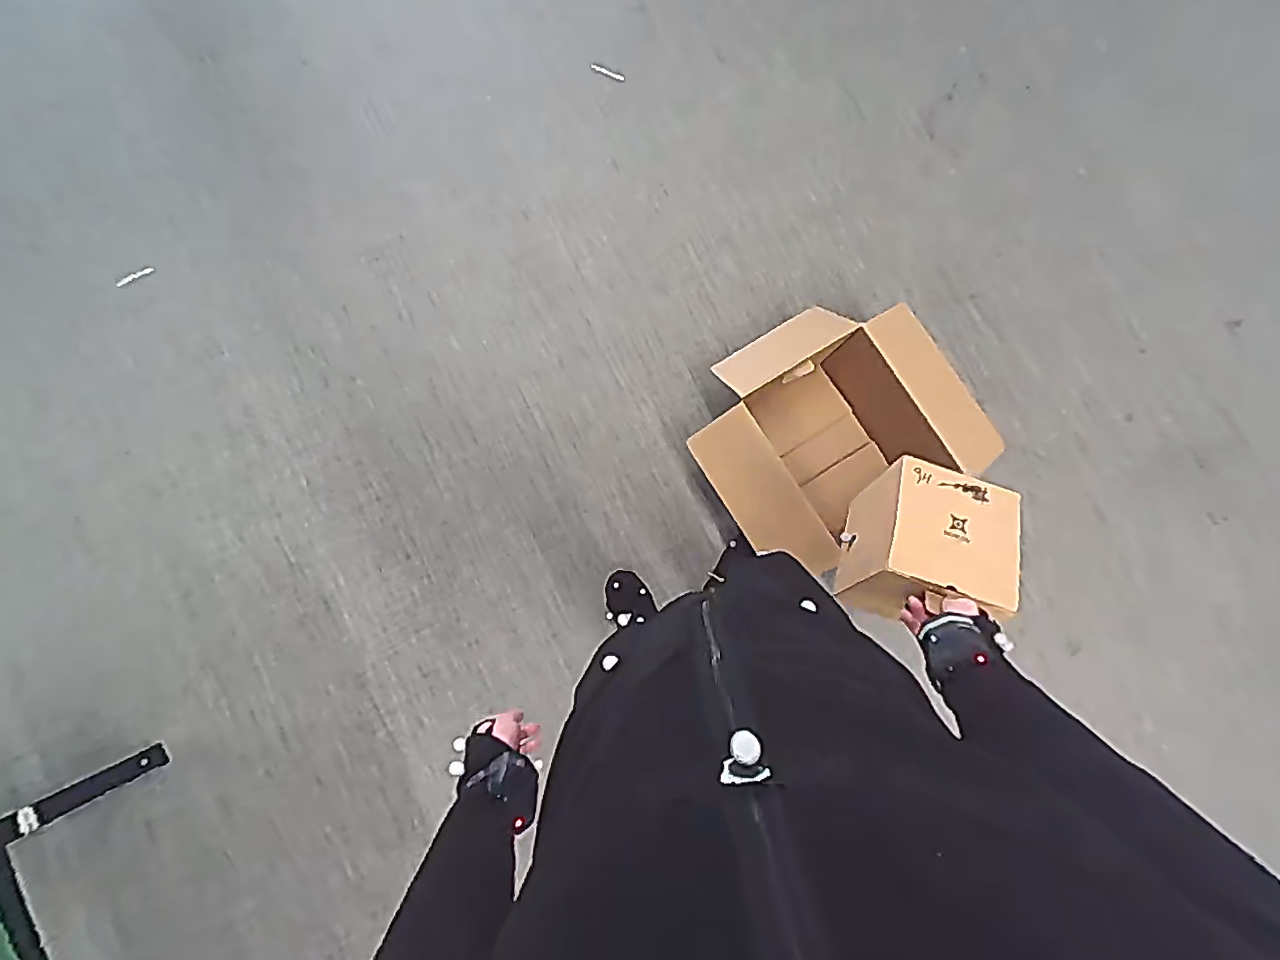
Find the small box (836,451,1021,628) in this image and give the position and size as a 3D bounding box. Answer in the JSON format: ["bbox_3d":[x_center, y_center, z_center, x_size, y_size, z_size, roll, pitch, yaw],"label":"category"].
[{"bbox_3d":[0.400,0.094,0.771,0.168,0.176,0.179,21,65,4],"label":"small box"}]
